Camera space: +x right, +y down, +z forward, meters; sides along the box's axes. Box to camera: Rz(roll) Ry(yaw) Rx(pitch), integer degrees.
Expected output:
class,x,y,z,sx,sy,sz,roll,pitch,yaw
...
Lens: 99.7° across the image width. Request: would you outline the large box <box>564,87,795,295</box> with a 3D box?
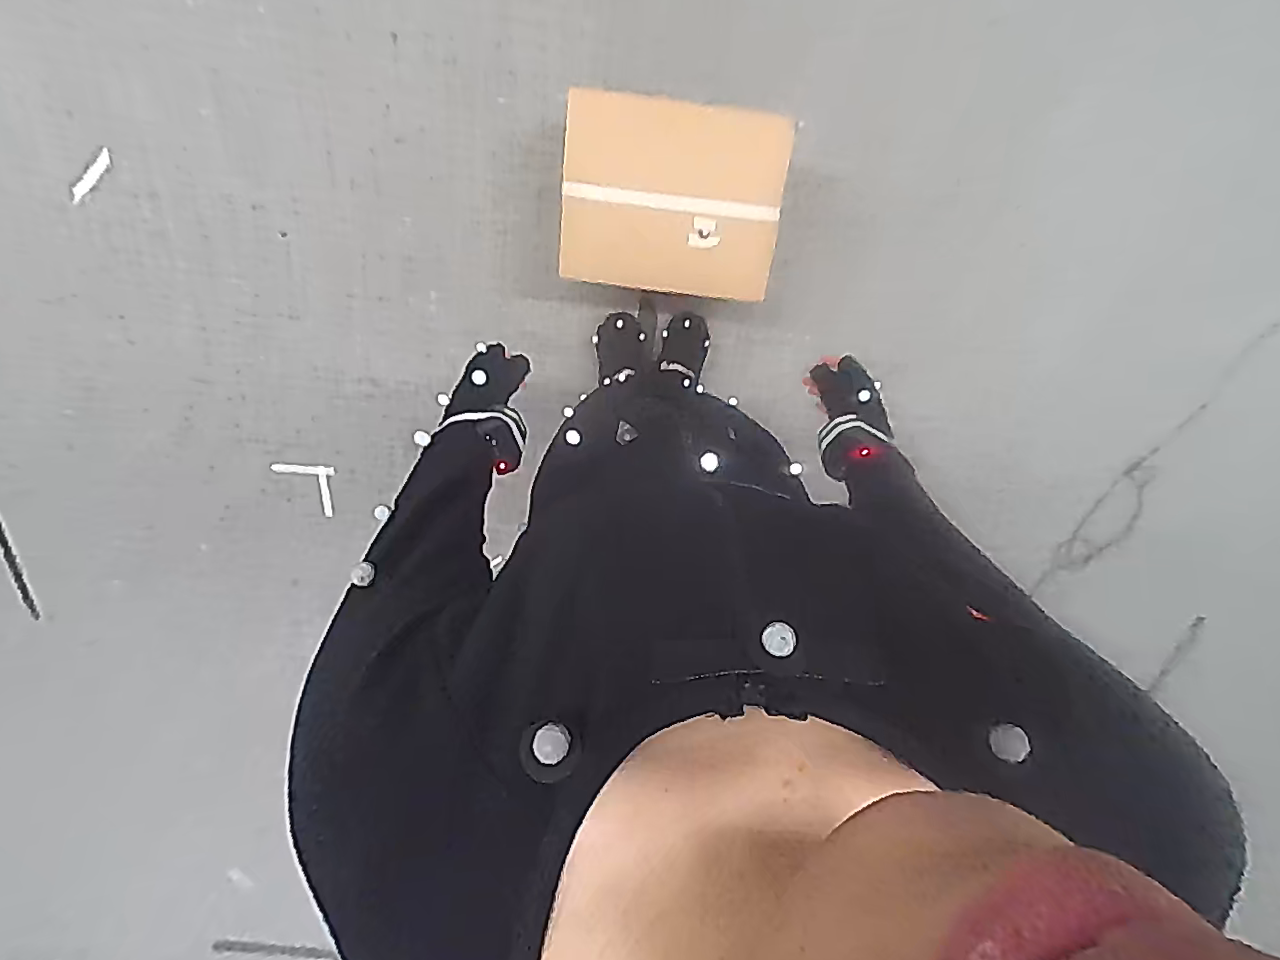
class,x,y,z,sx,sy,sz,roll,pitch,yaw
large box,0.058,-0.577,1.132,0.408,0.320,0.320,5,114,-3
